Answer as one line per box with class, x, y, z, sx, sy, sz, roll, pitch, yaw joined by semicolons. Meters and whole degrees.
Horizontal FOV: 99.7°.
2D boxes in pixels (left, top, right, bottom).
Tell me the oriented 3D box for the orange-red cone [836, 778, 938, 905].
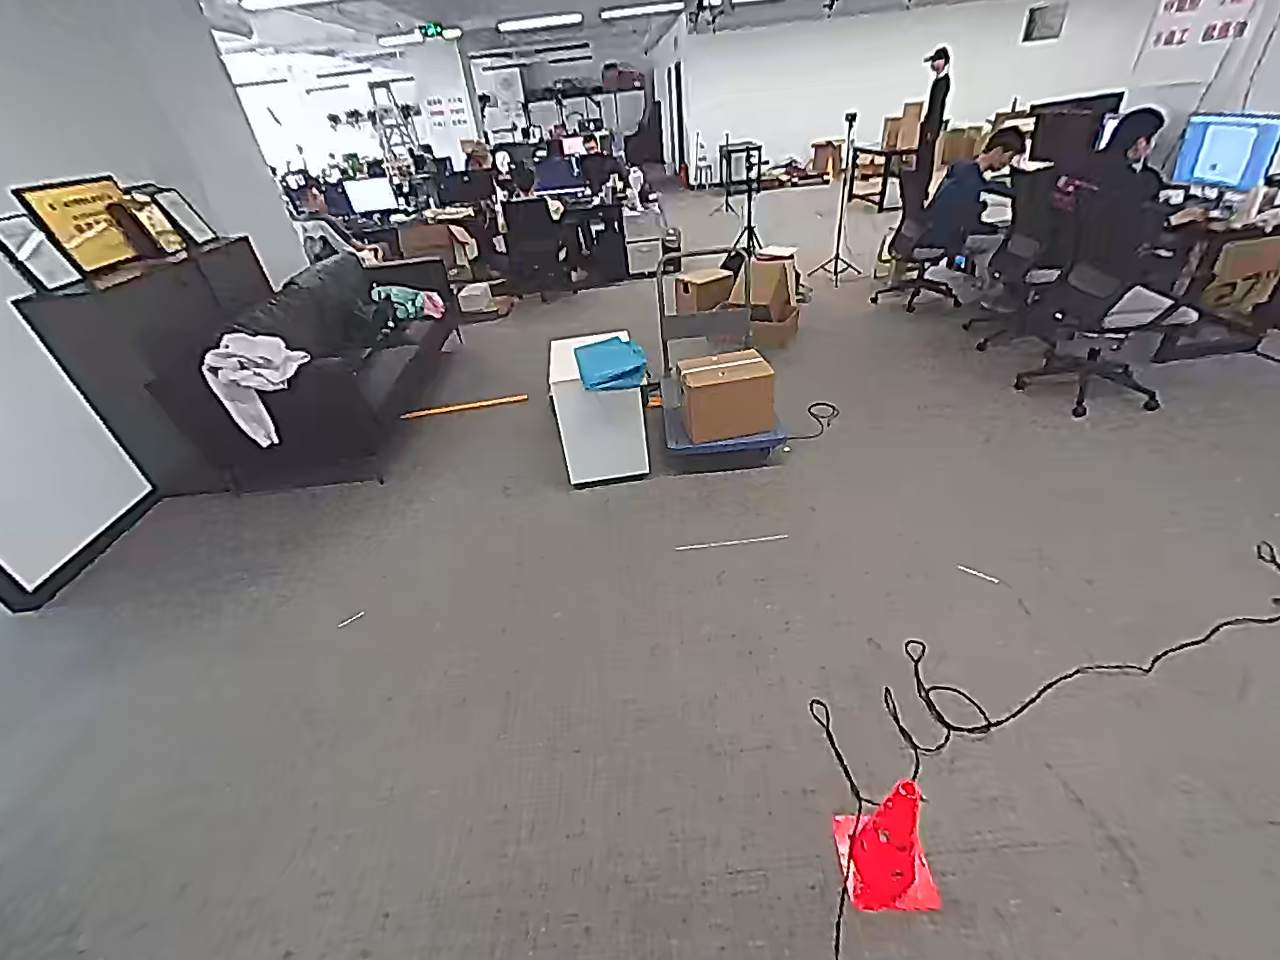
orange-red cone;0.569;0.769;1.203;0.198;0.360;0.199;-4;36;6
